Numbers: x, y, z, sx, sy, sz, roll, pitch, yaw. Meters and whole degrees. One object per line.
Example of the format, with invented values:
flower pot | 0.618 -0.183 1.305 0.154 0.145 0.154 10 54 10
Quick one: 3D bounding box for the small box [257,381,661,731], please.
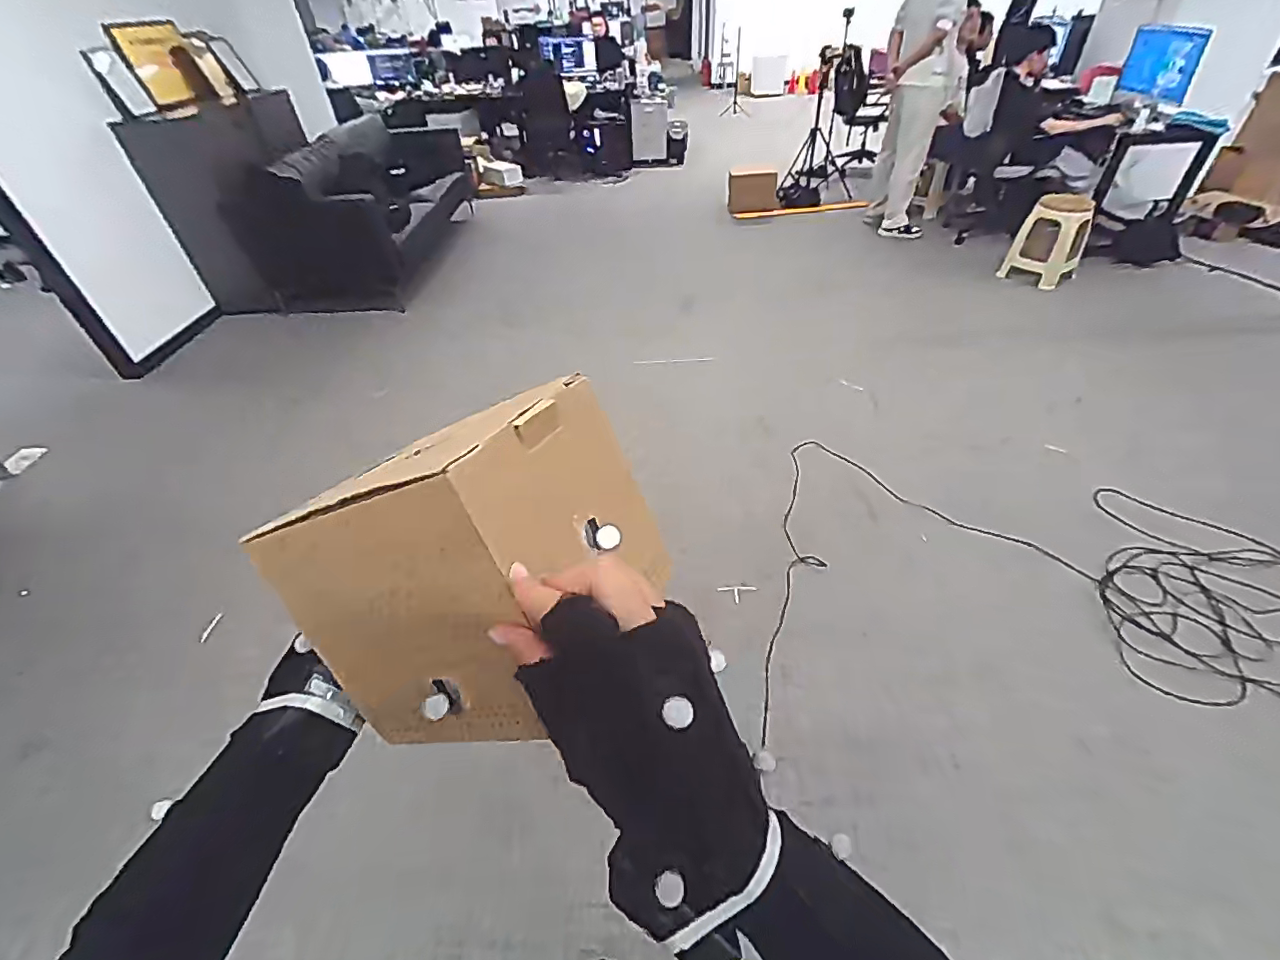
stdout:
small box | -0.105 0.055 0.385 0.179 0.176 0.168 -16 20 26
